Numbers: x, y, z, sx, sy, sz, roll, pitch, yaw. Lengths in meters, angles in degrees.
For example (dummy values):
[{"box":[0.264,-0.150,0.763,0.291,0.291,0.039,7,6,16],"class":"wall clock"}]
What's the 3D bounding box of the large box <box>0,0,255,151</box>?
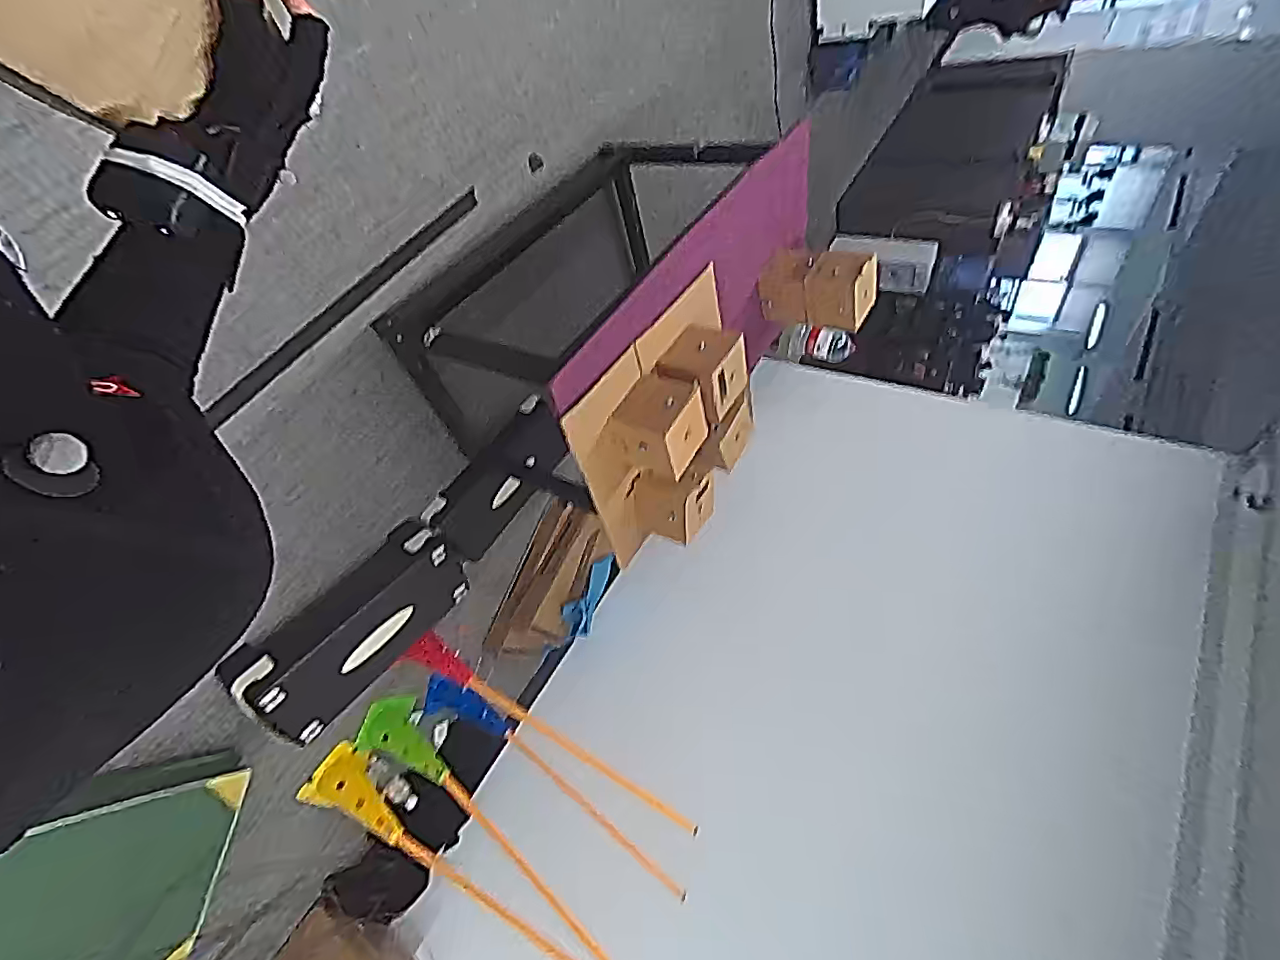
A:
[{"box":[-0.485,-0.482,0.300,0.320,0.320,0.408,-61,154,4],"class":"large box"}]
